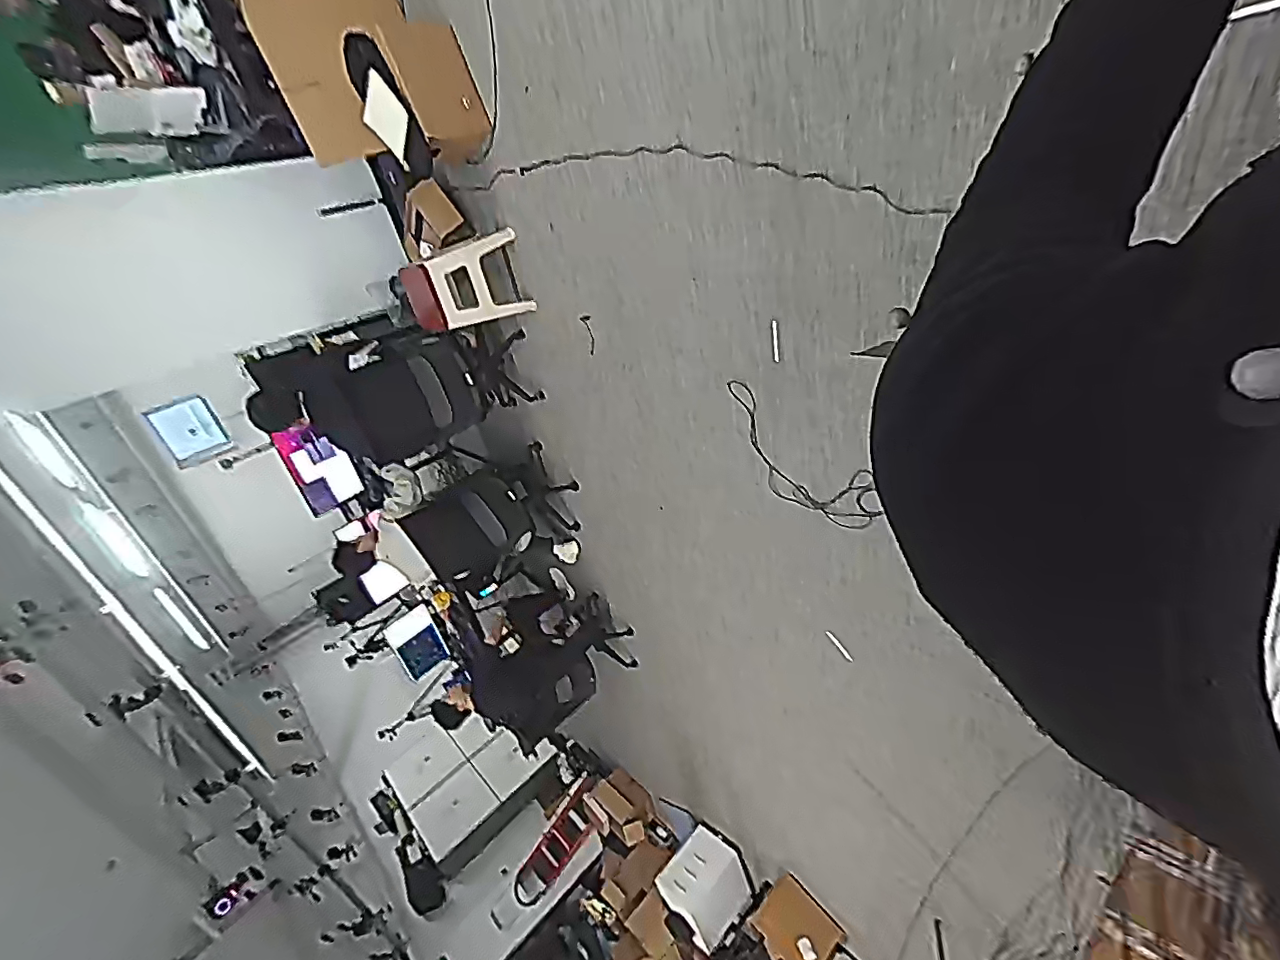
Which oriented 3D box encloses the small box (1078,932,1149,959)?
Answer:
[{"bbox_3d":[1.152,1.236,1.287,0.179,0.176,0.168,12,124,49],"label":"small box"}]
